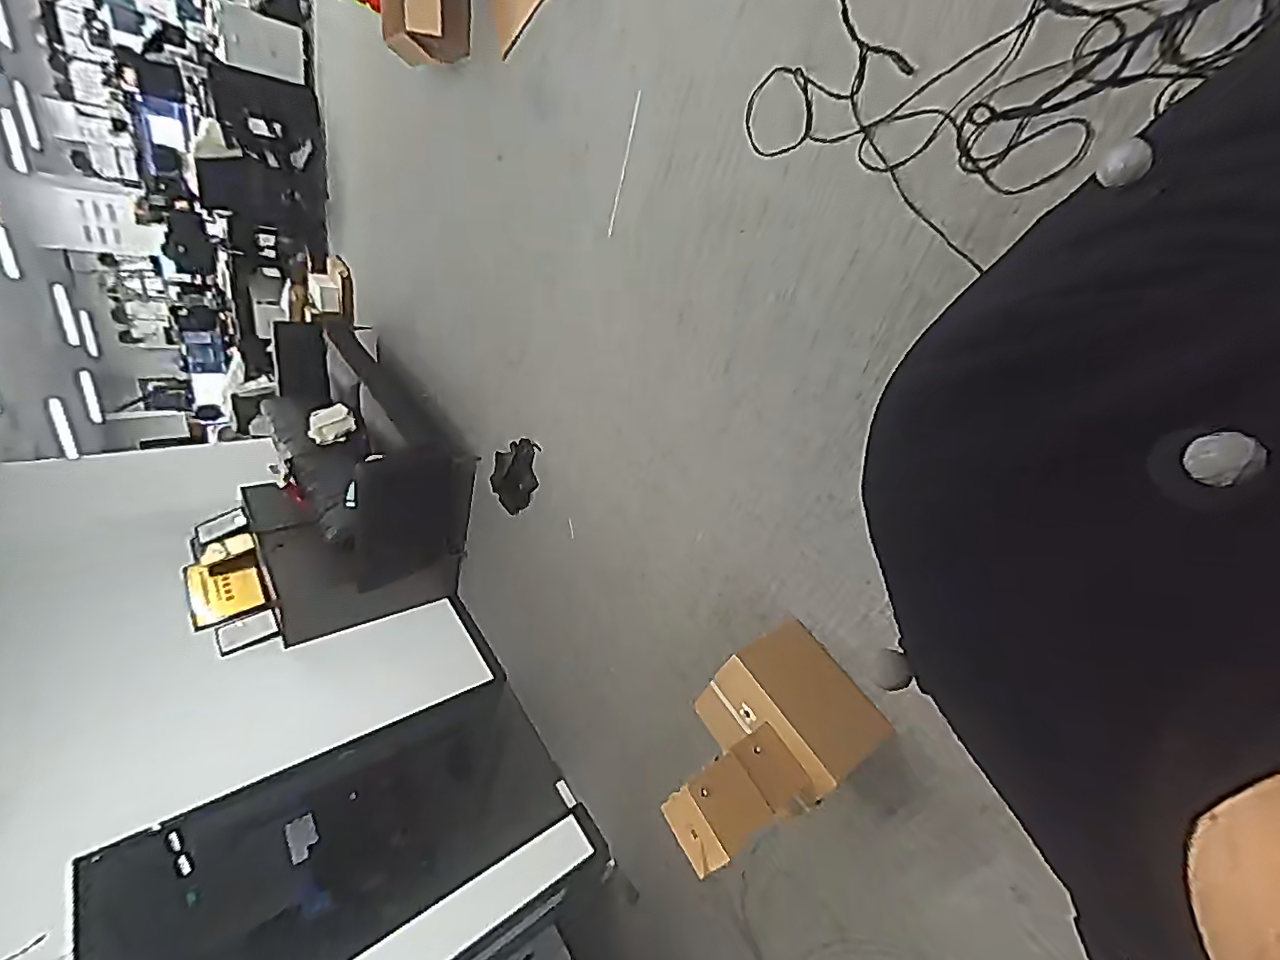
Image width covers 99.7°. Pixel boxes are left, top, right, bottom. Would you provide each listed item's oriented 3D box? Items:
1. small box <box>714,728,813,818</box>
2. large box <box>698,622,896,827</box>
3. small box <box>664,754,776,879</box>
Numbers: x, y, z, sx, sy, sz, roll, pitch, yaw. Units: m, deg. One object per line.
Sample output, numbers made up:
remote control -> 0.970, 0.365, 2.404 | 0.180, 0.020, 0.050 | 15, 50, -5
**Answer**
small box -> 0.313, 0.784, 1.419 | 0.179, 0.176, 0.168 | 49, 134, 30
large box -> 0.455, 0.709, 1.613 | 0.408, 0.320, 0.320 | 50, 132, 31
small box -> 0.195, 0.810, 1.310 | 0.179, 0.176, 0.168 | 52, 135, 30
